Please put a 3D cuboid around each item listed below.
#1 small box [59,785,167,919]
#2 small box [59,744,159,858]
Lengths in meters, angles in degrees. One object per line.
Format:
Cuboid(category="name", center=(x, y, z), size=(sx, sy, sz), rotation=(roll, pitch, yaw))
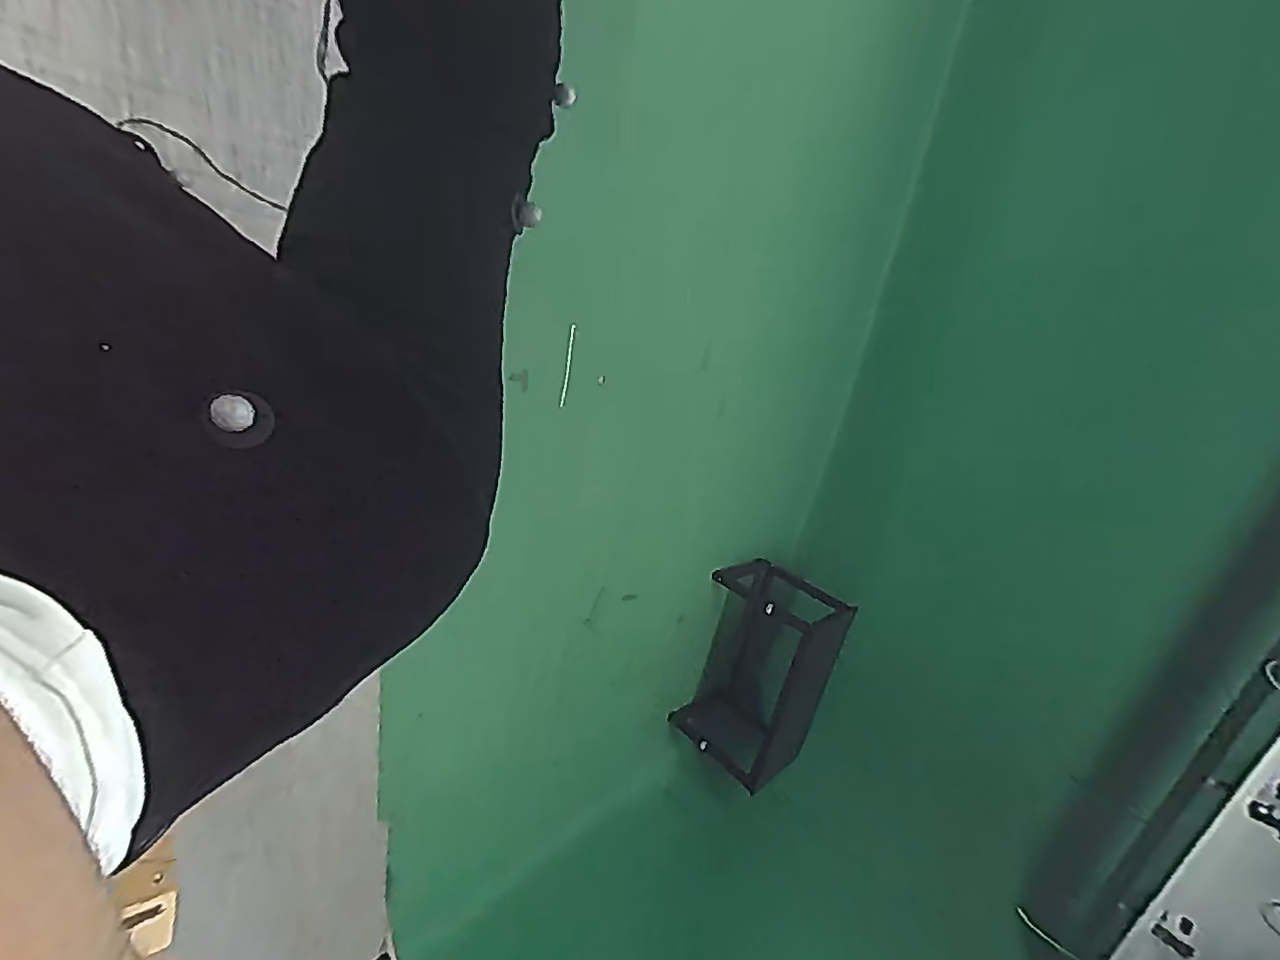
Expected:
Cuboid(category="small box", center=(-1.285, 0.892, 1.317), size=(0.179, 0.176, 0.168), rotation=(1, 111, -48))
Cuboid(category="small box", center=(-1.399, 0.837, 1.424), size=(0.179, 0.176, 0.168), rotation=(2, 111, -48))
